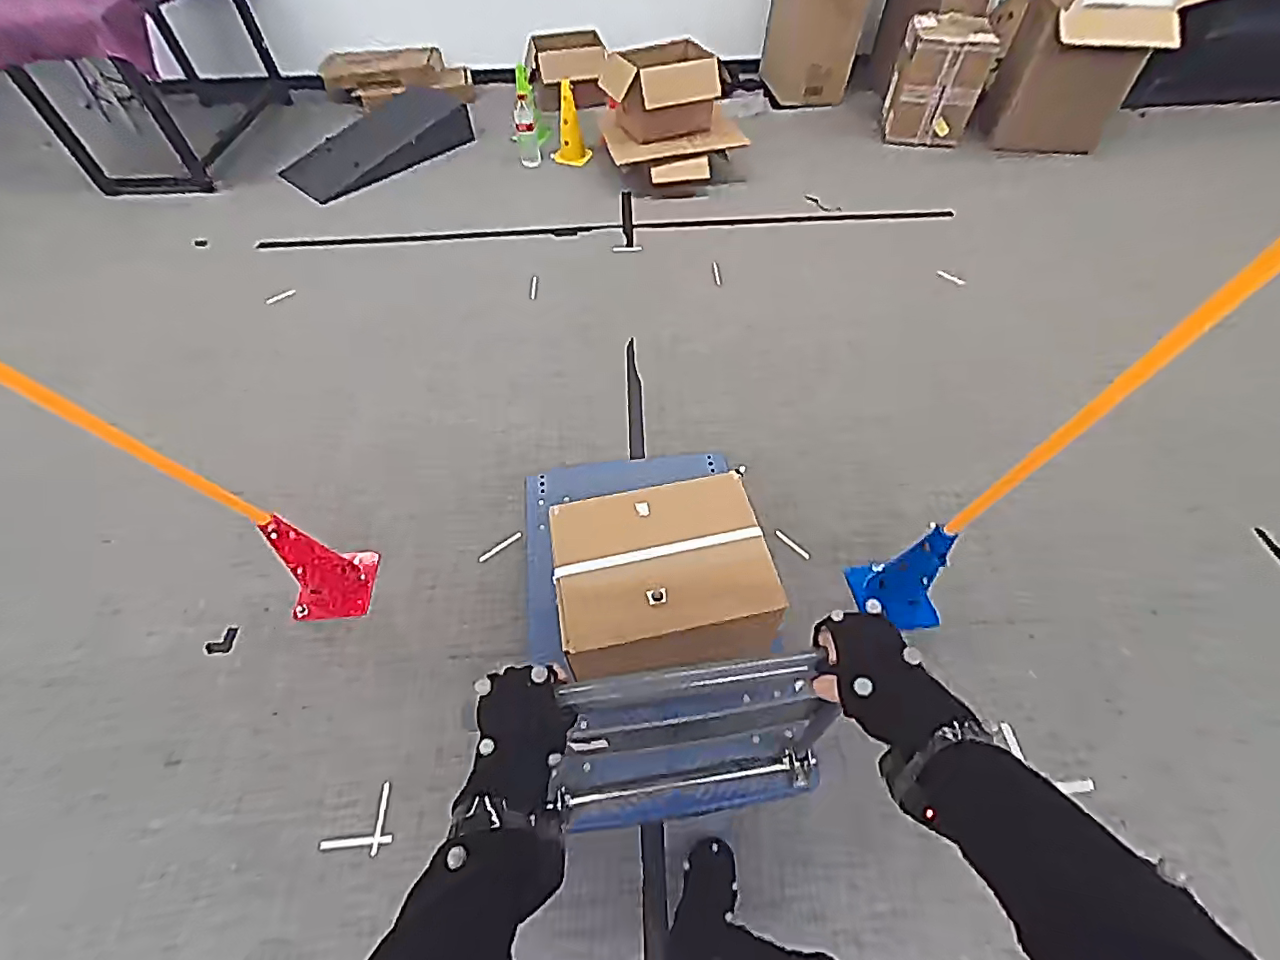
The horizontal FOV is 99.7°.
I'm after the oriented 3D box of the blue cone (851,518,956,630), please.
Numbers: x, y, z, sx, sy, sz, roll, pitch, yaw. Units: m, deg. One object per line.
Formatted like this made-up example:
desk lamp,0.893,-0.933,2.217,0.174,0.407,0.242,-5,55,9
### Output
blue cone,0.695,0.219,1.353,0.193,0.380,0.192,-6,53,-4
